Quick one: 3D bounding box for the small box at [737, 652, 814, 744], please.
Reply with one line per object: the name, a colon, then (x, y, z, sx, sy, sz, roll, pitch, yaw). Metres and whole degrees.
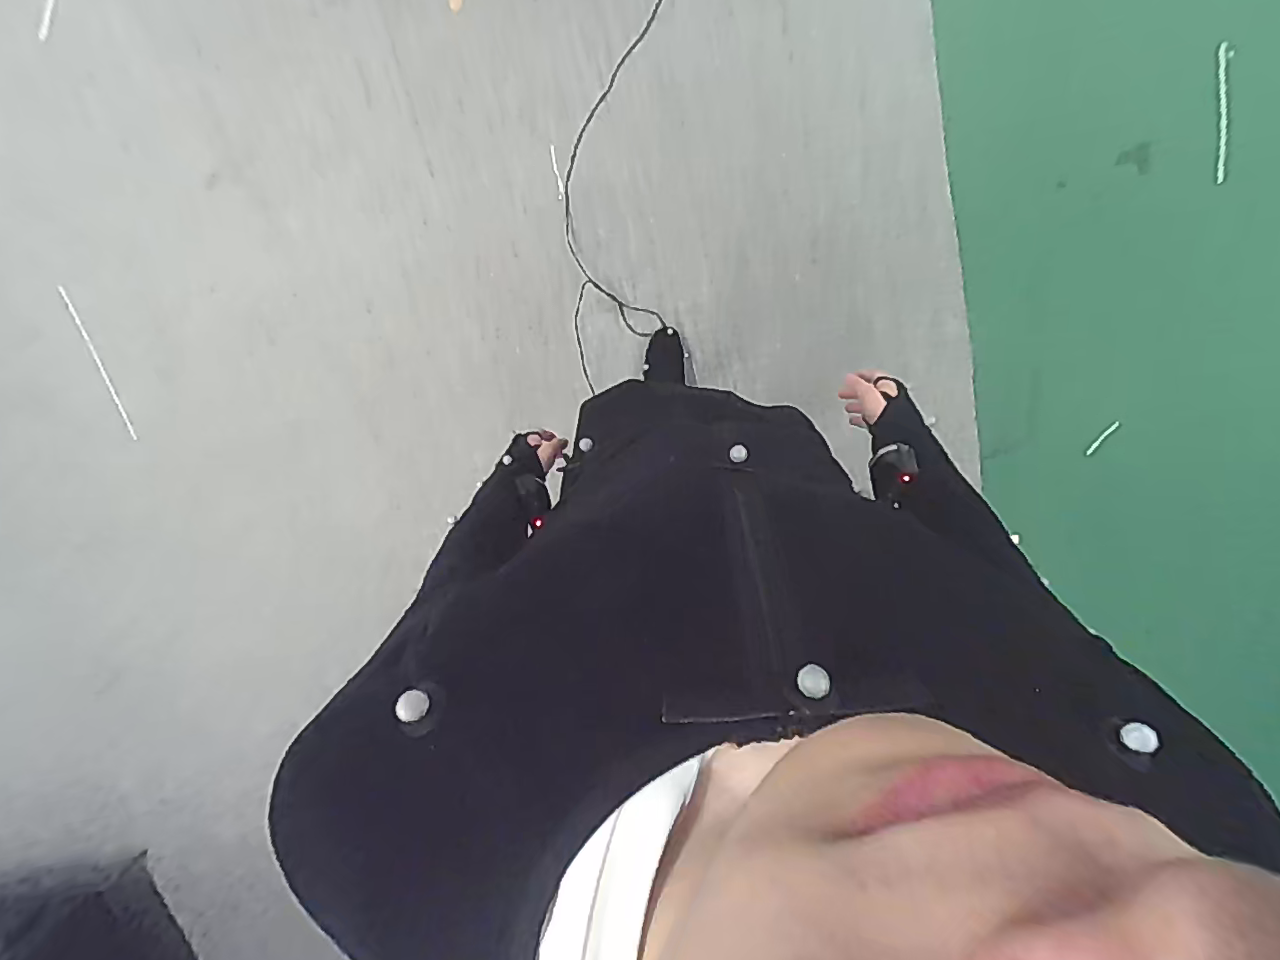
small box: (0.374, 0.606, 1.518, 0.179, 0.176, 0.168, -10, 103, 5)
